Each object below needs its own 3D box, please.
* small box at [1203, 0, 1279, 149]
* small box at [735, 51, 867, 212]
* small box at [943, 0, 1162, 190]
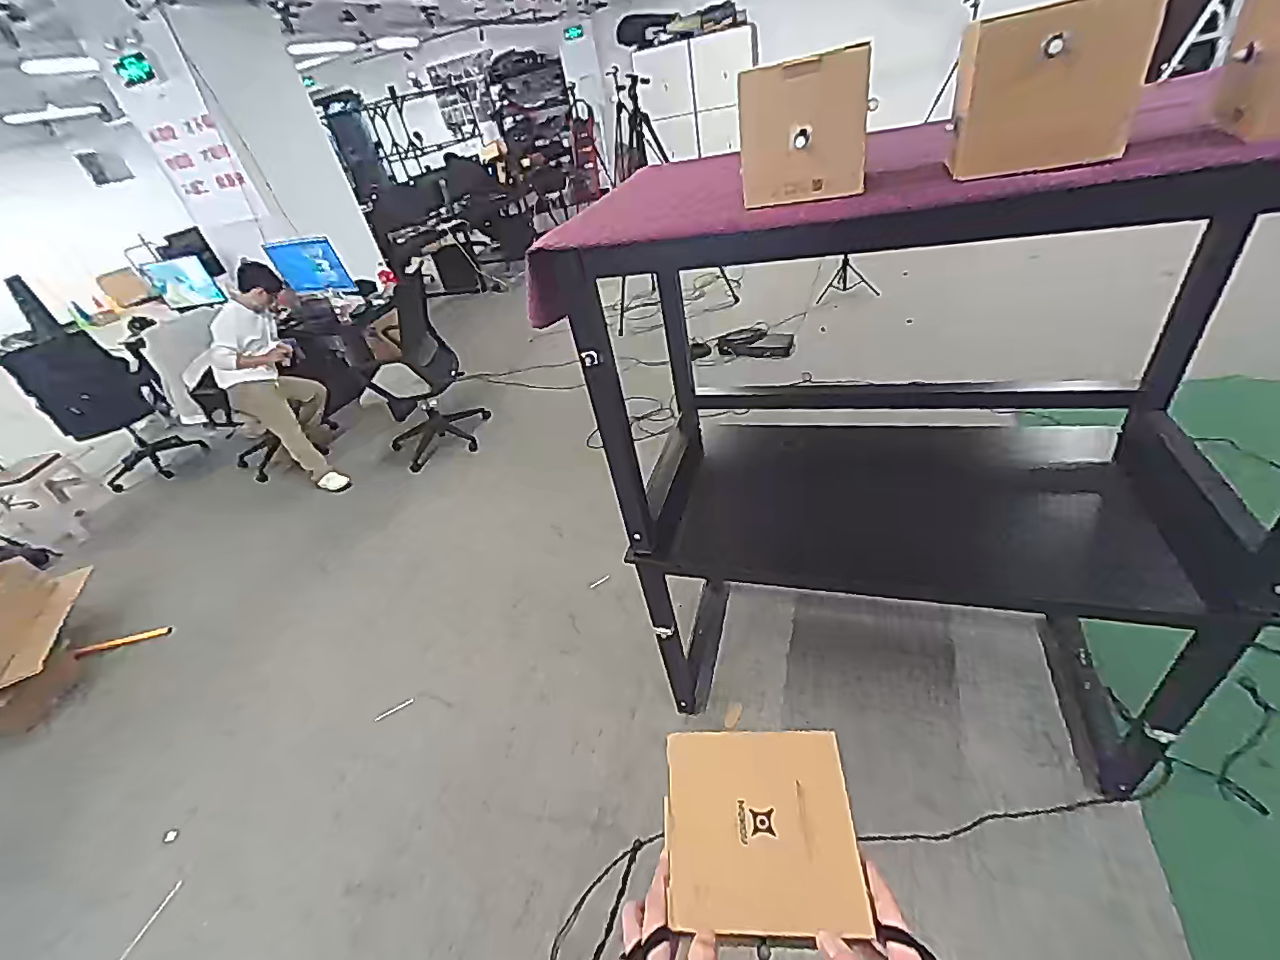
[{"bbox_3d":[0.773,-0.479,0.590,0.179,0.176,0.168,5,41,24],"label":"small box"},{"bbox_3d":[0.244,-0.507,0.799,0.168,0.176,0.179,3,38,20],"label":"small box"},{"bbox_3d":[0.507,-0.494,0.699,0.179,0.176,0.168,2,37,22],"label":"small box"}]
